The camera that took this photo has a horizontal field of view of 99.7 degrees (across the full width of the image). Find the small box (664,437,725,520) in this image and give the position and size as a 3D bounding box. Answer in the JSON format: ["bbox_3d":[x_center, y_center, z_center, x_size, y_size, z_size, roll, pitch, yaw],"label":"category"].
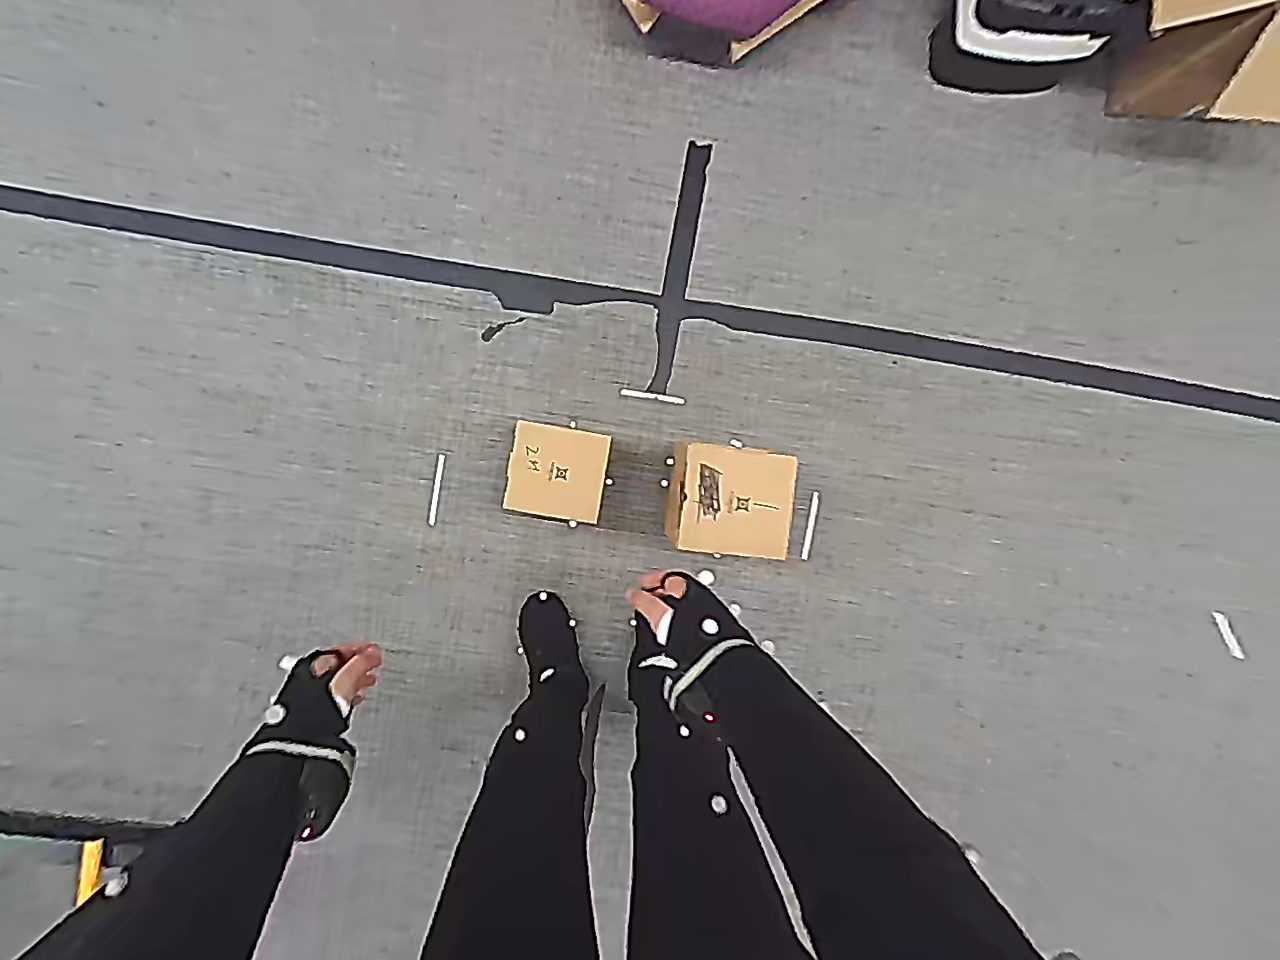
[{"bbox_3d":[0.142,0.012,1.071,0.168,0.176,0.179,6,94,-4],"label":"small box"}]

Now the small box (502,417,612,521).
[{"bbox_3d":[-0.153,-0.024,1.050,0.179,0.176,0.168,10,93,-3],"label":"small box"}]

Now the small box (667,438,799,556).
[{"bbox_3d":[0.144,0.024,0.906,0.179,0.176,0.168,7,93,-4],"label":"small box"}]
